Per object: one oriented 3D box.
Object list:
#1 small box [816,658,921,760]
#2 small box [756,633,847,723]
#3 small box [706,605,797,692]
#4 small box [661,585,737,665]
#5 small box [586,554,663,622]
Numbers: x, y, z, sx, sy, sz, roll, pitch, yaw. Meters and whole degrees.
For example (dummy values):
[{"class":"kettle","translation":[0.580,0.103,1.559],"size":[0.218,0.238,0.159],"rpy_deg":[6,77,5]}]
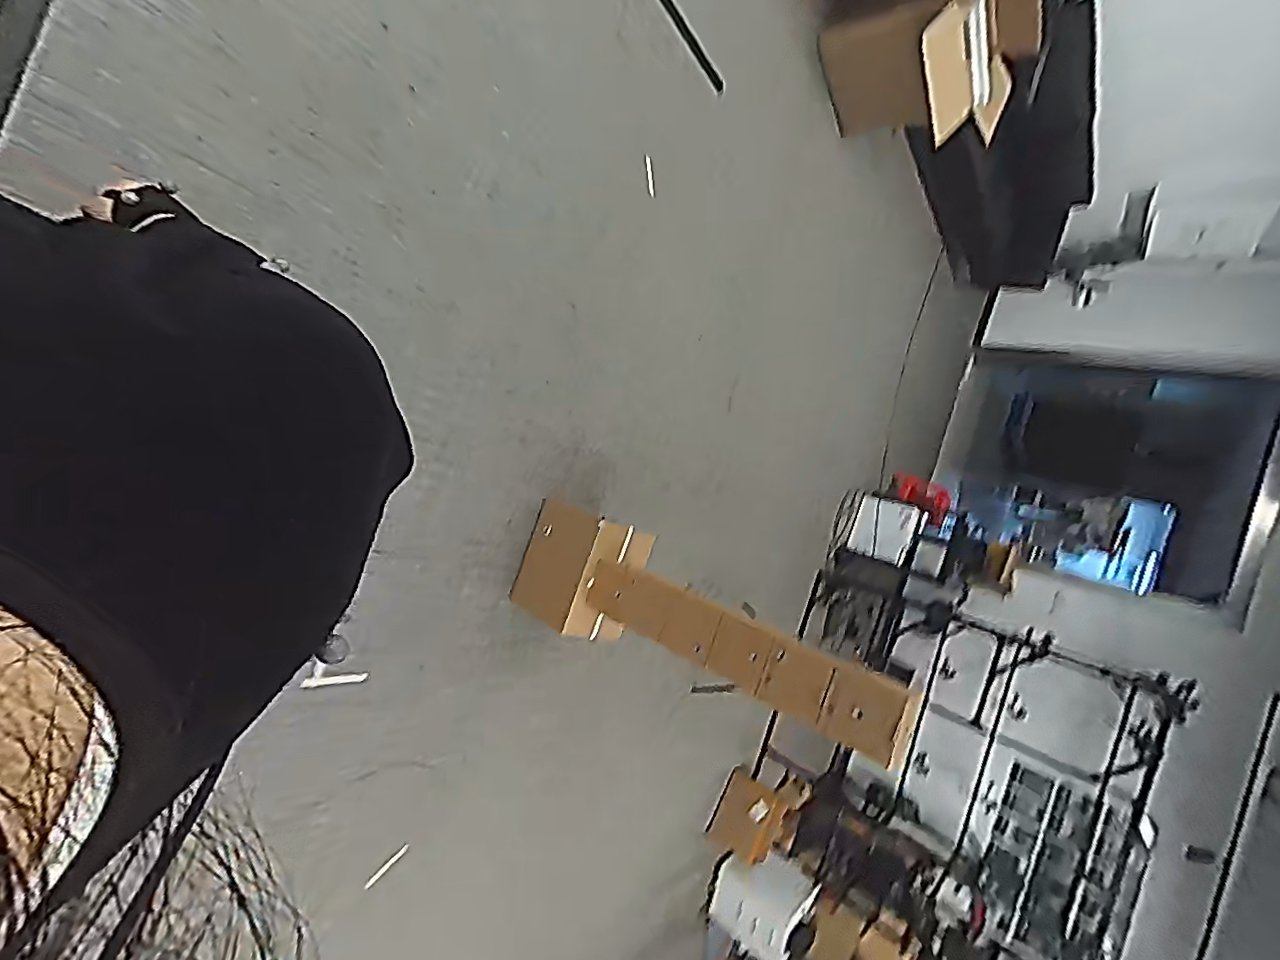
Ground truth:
[{"class":"small box","translation":[0.546,0.539,1.296],"size":[0.179,0.176,0.168],"rpy_deg":[23,85,-48]},{"class":"small box","translation":[0.425,0.510,1.403],"size":[0.179,0.176,0.168],"rpy_deg":[25,84,-50]},{"class":"small box","translation":[0.305,0.470,1.509],"size":[0.168,0.176,0.179],"rpy_deg":[25,83,-49]},{"class":"small box","translation":[0.186,0.434,1.612],"size":[0.168,0.176,0.179],"rpy_deg":[25,84,-50]},{"class":"small box","translation":[-0.056,0.362,1.822],"size":[0.168,0.176,0.179],"rpy_deg":[19,90,-49]}]
